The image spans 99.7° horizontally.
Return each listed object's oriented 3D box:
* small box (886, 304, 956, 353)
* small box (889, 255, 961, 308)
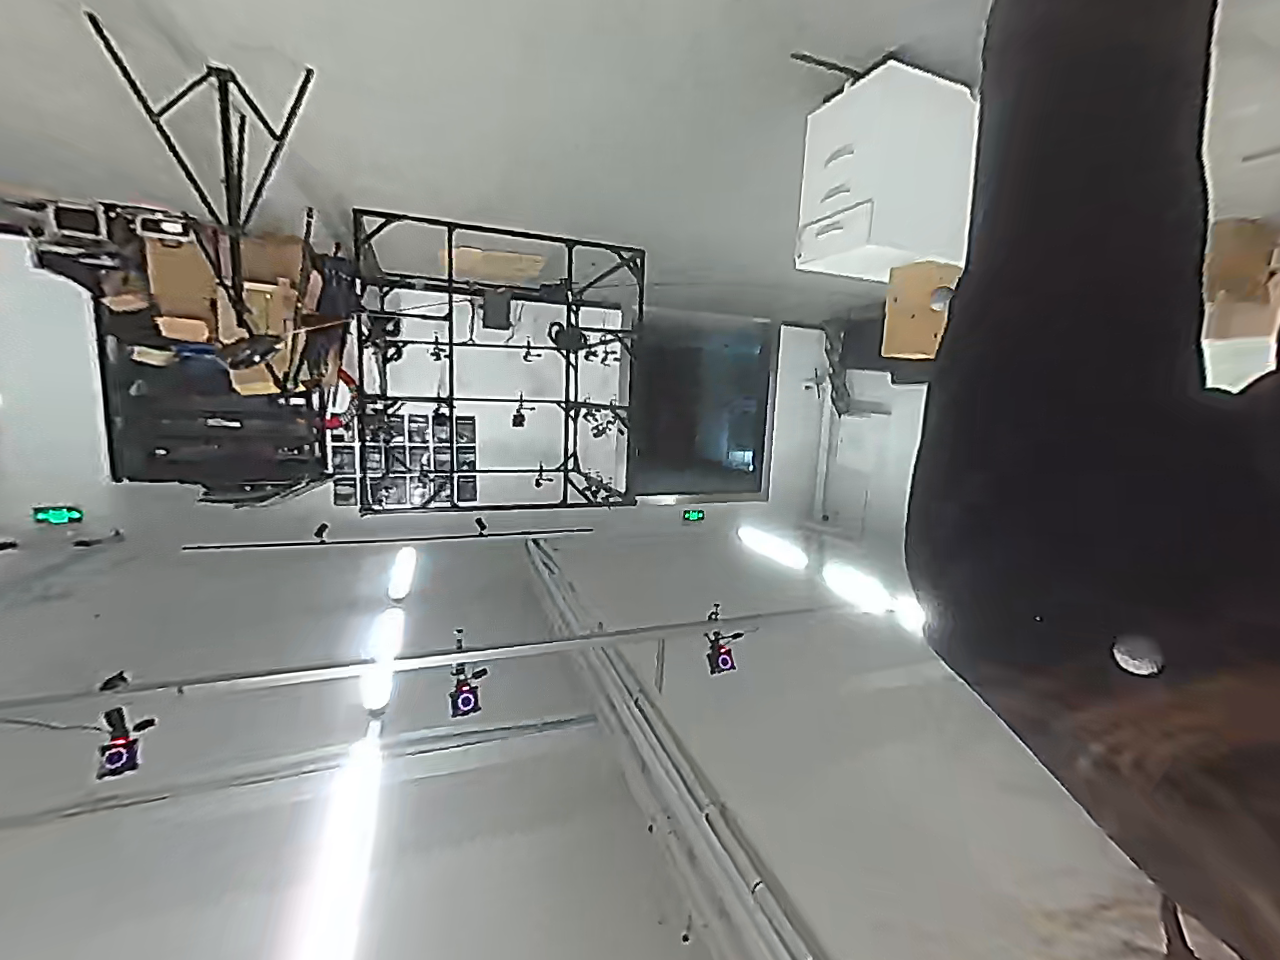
[{"bbox_3d":[1.086,-0.585,2.089,0.179,0.176,0.168,-2,-168,-21],"label":"small box"},{"bbox_3d":[1.089,-0.747,2.065,0.168,0.176,0.179,-2,-169,-21],"label":"small box"}]
